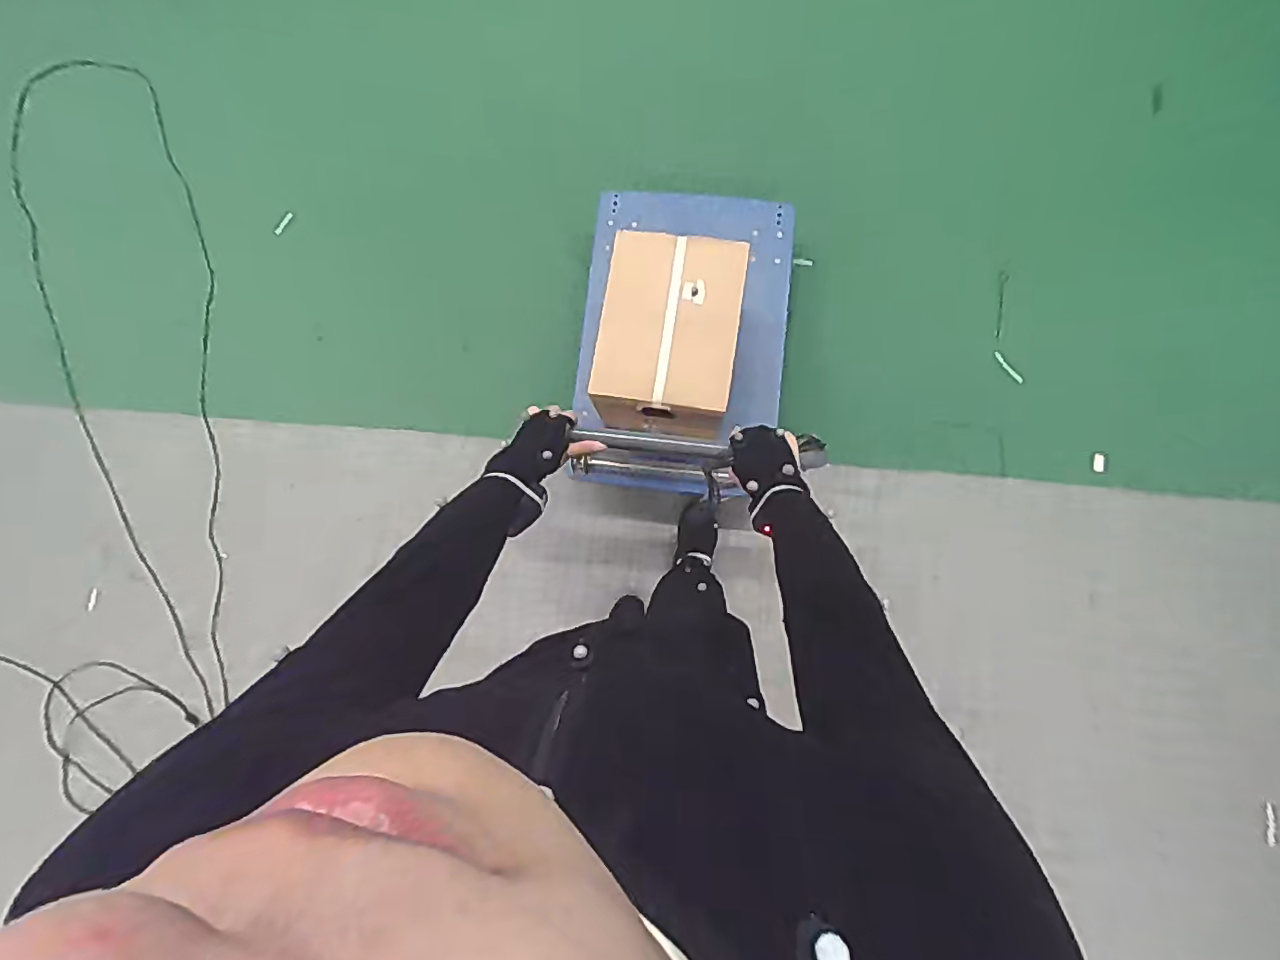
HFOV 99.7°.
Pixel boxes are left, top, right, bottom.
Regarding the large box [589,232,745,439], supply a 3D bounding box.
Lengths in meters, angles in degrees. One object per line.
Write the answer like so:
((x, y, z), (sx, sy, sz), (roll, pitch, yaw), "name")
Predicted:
((0.073, -0.344, 1.371), (0.320, 0.320, 0.408), (9, 82, 4), "large box")
